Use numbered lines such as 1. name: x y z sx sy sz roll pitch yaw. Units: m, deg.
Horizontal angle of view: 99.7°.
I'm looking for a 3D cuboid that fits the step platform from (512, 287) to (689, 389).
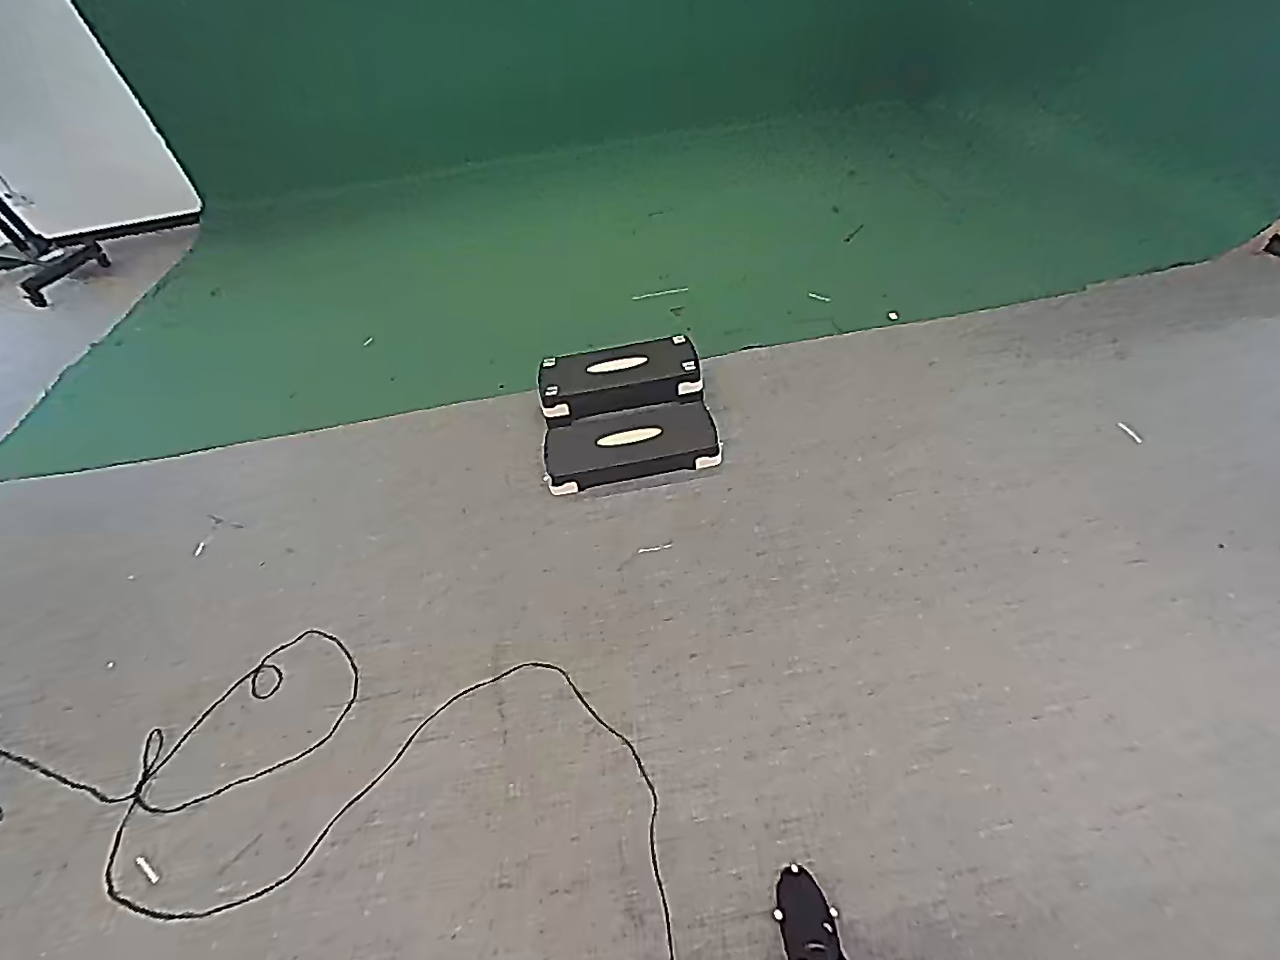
1. step platform: -0.150 -0.566 2.156 0.684 0.204 0.286 -11 48 -1
